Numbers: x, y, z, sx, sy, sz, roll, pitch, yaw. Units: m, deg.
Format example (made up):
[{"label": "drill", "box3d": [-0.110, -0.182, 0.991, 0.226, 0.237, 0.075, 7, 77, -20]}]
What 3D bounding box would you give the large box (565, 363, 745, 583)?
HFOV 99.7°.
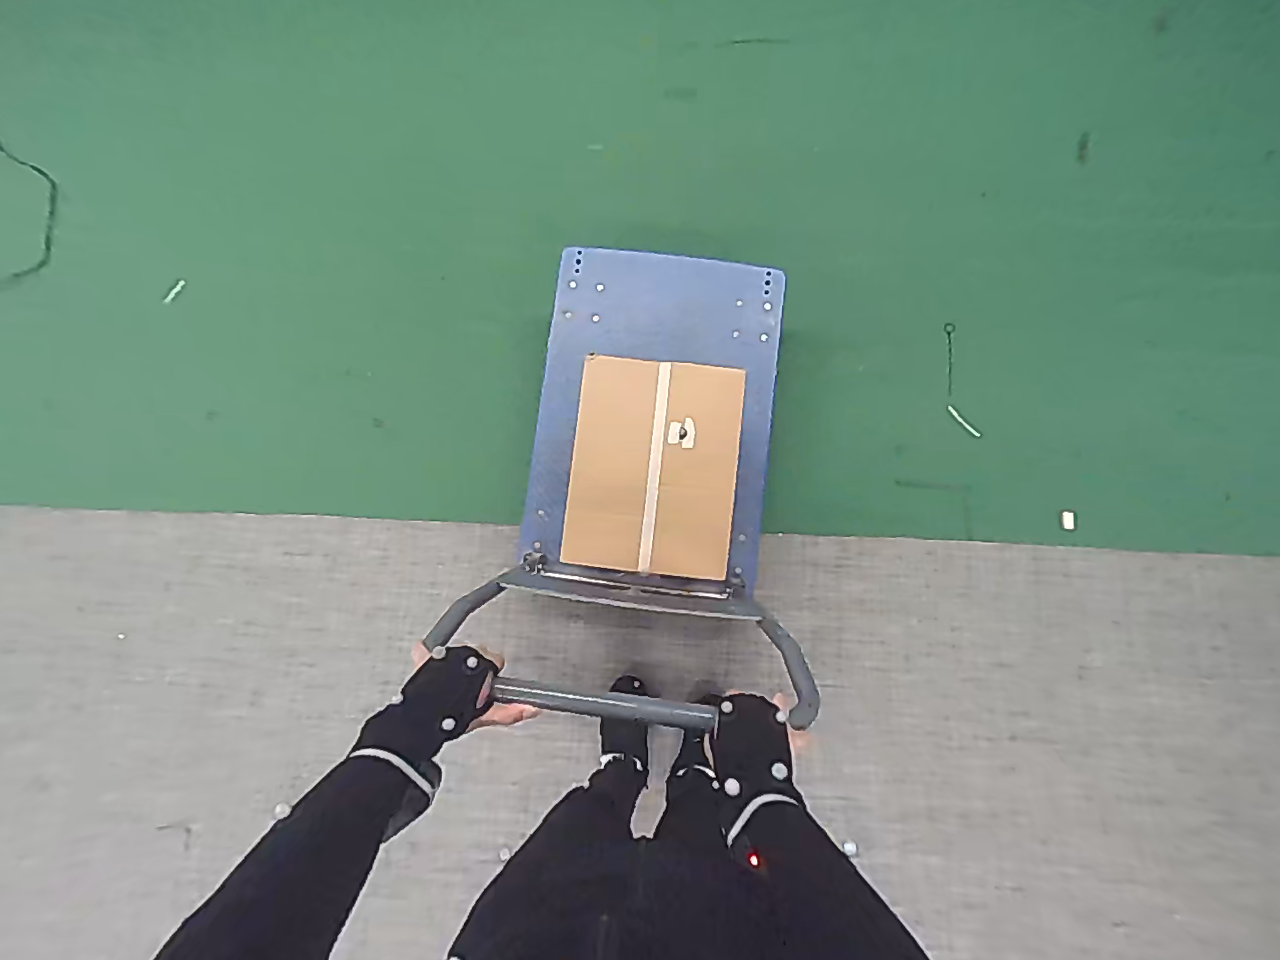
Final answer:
[{"label": "large box", "box3d": [0.035, -0.001, 1.174, 0.320, 0.320, 0.408, 7, 84, 1]}]
